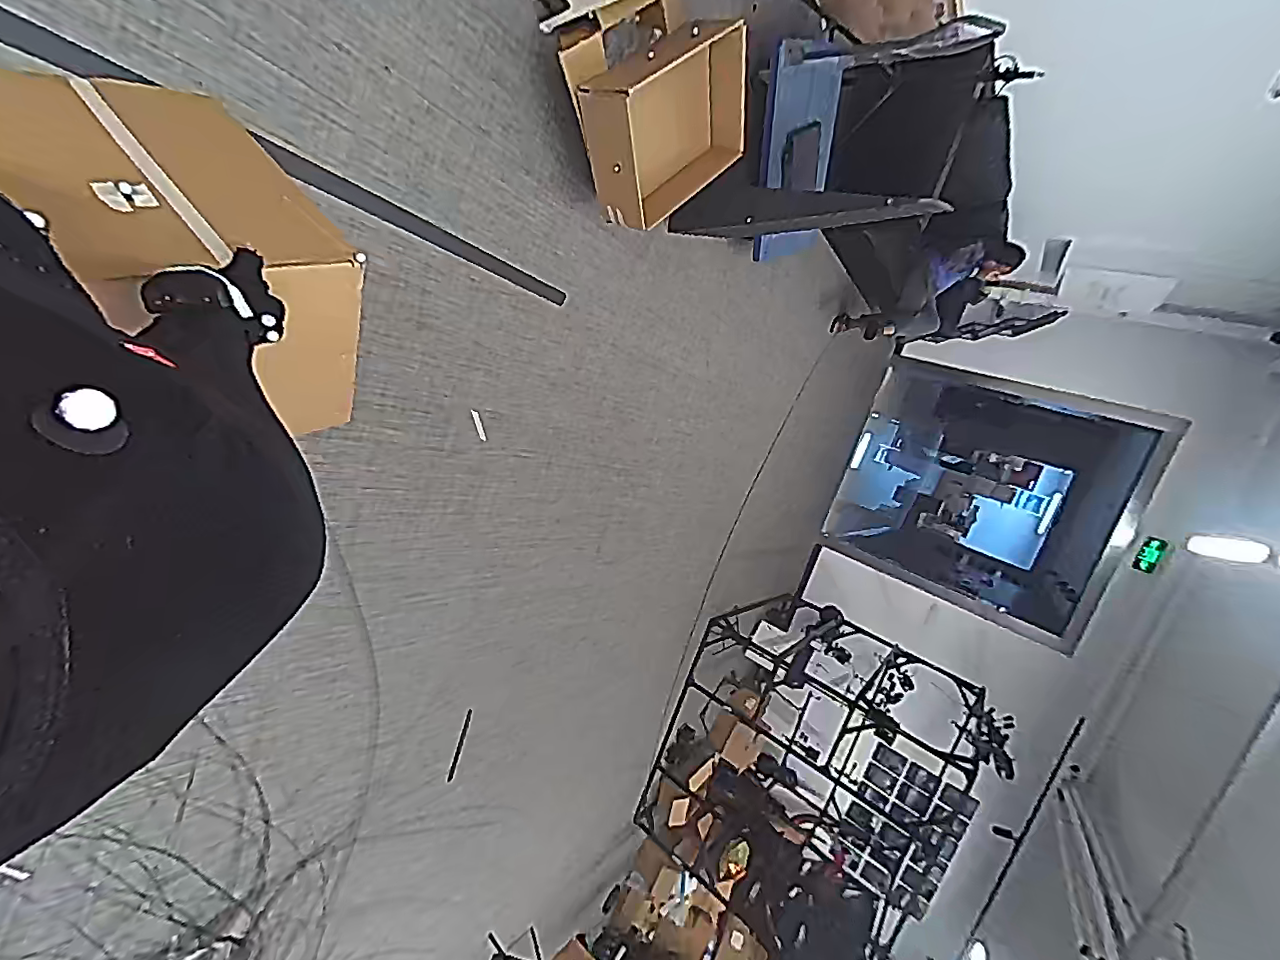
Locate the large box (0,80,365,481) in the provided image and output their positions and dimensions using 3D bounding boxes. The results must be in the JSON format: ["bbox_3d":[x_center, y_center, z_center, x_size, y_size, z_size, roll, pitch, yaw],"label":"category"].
[{"bbox_3d":[-0.661,-0.277,0.766,0.320,0.408,0.320,-32,164,-44],"label":"large box"}]
